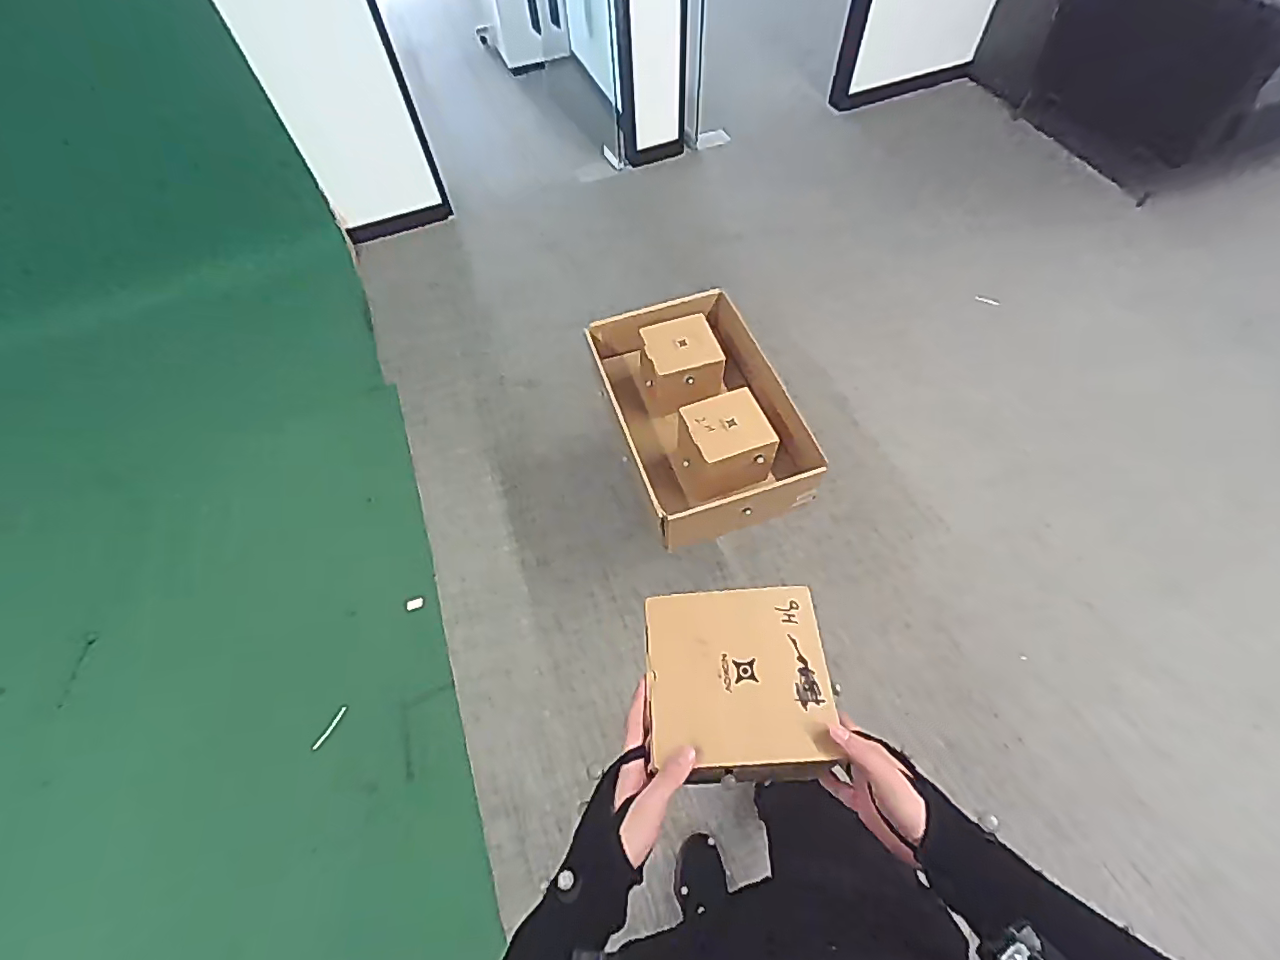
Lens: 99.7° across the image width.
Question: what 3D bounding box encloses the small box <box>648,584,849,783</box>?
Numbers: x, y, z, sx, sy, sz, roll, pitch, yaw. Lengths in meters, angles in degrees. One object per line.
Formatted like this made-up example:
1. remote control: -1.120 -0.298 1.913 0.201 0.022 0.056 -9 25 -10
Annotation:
1. small box: 0.106 0.227 0.590 0.179 0.176 0.168 -5 55 3

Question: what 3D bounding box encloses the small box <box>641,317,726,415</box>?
1. small box: 0.108 -0.290 1.405 0.179 0.176 0.168 -14 61 -7

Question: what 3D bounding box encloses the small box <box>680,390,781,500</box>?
1. small box: 0.203 -0.078 1.272 0.179 0.176 0.168 -18 60 -8
